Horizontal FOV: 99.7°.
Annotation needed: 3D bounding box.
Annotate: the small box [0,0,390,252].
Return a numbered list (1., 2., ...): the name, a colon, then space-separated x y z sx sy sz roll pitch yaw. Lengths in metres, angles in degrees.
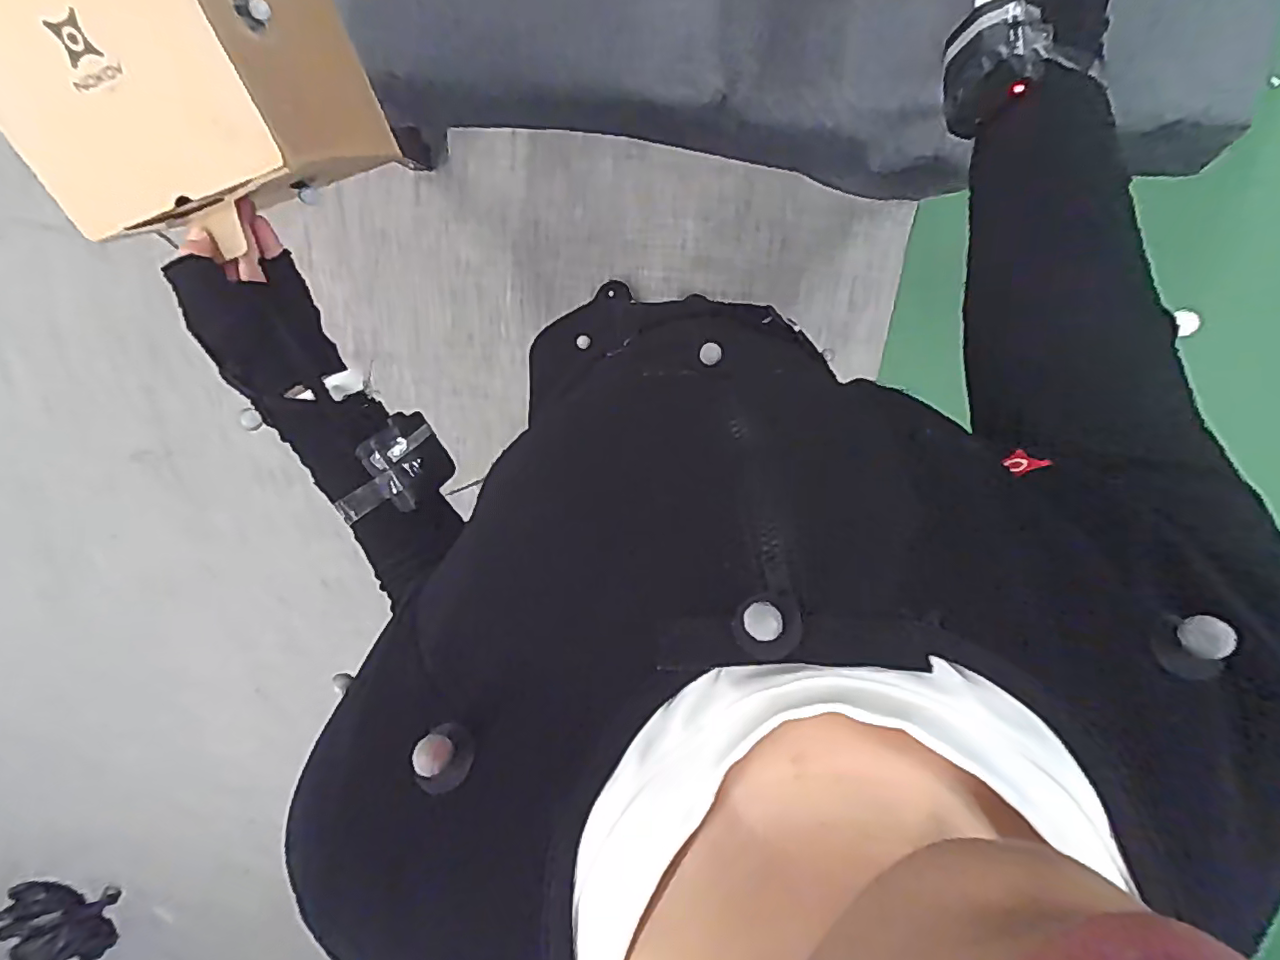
1. small box: -0.311 -0.283 0.371 0.168 0.176 0.179 -13 120 11
